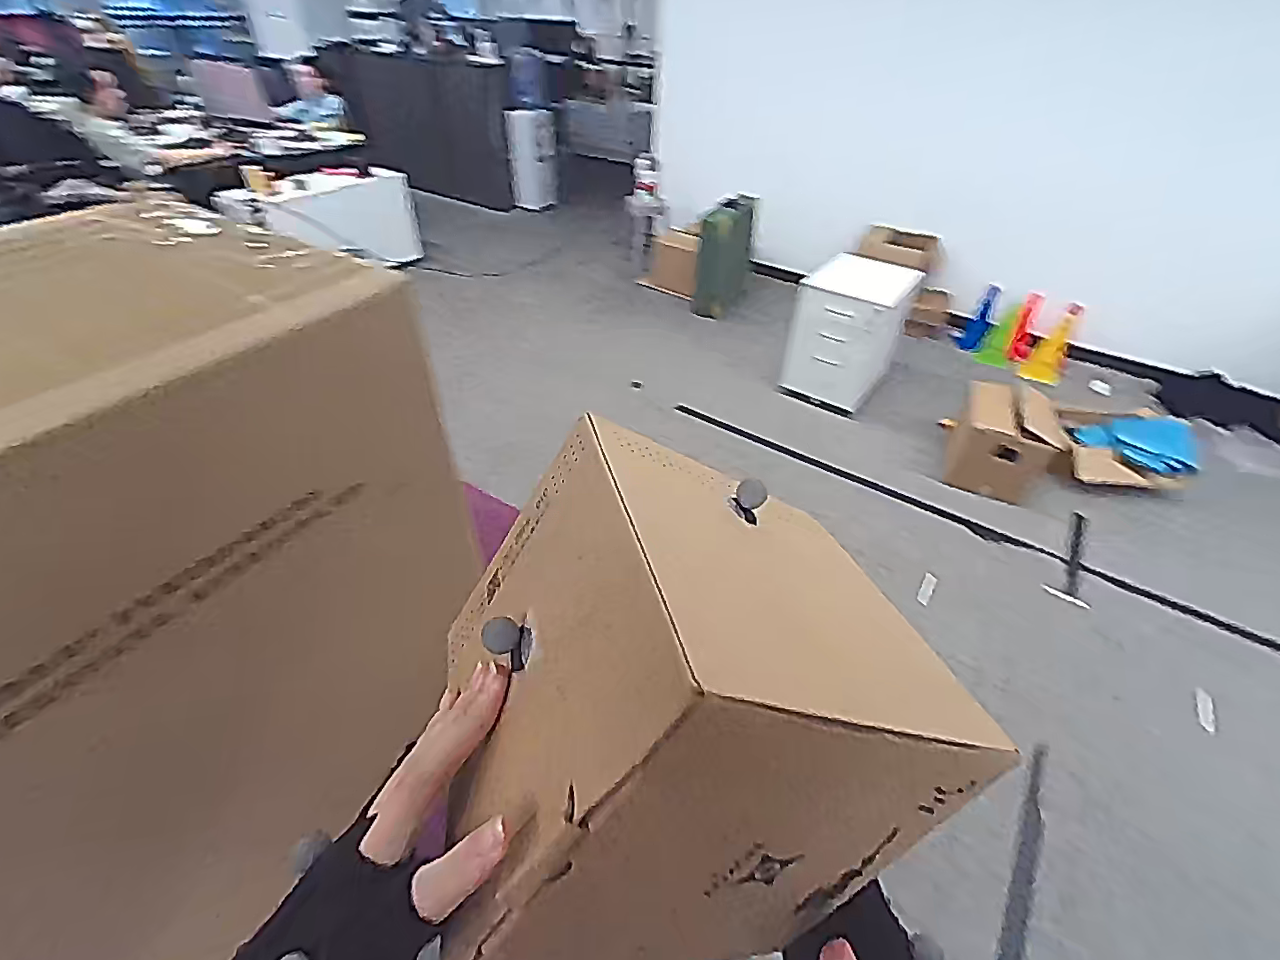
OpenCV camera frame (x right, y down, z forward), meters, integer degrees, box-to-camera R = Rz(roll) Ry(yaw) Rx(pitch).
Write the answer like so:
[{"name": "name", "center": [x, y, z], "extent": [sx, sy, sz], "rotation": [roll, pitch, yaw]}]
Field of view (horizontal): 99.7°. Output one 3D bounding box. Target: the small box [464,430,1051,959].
[{"name": "small box", "center": [0.031, 0.096, 0.267], "extent": [0.179, 0.168, 0.176], "rotation": [24, 22, -27]}]
